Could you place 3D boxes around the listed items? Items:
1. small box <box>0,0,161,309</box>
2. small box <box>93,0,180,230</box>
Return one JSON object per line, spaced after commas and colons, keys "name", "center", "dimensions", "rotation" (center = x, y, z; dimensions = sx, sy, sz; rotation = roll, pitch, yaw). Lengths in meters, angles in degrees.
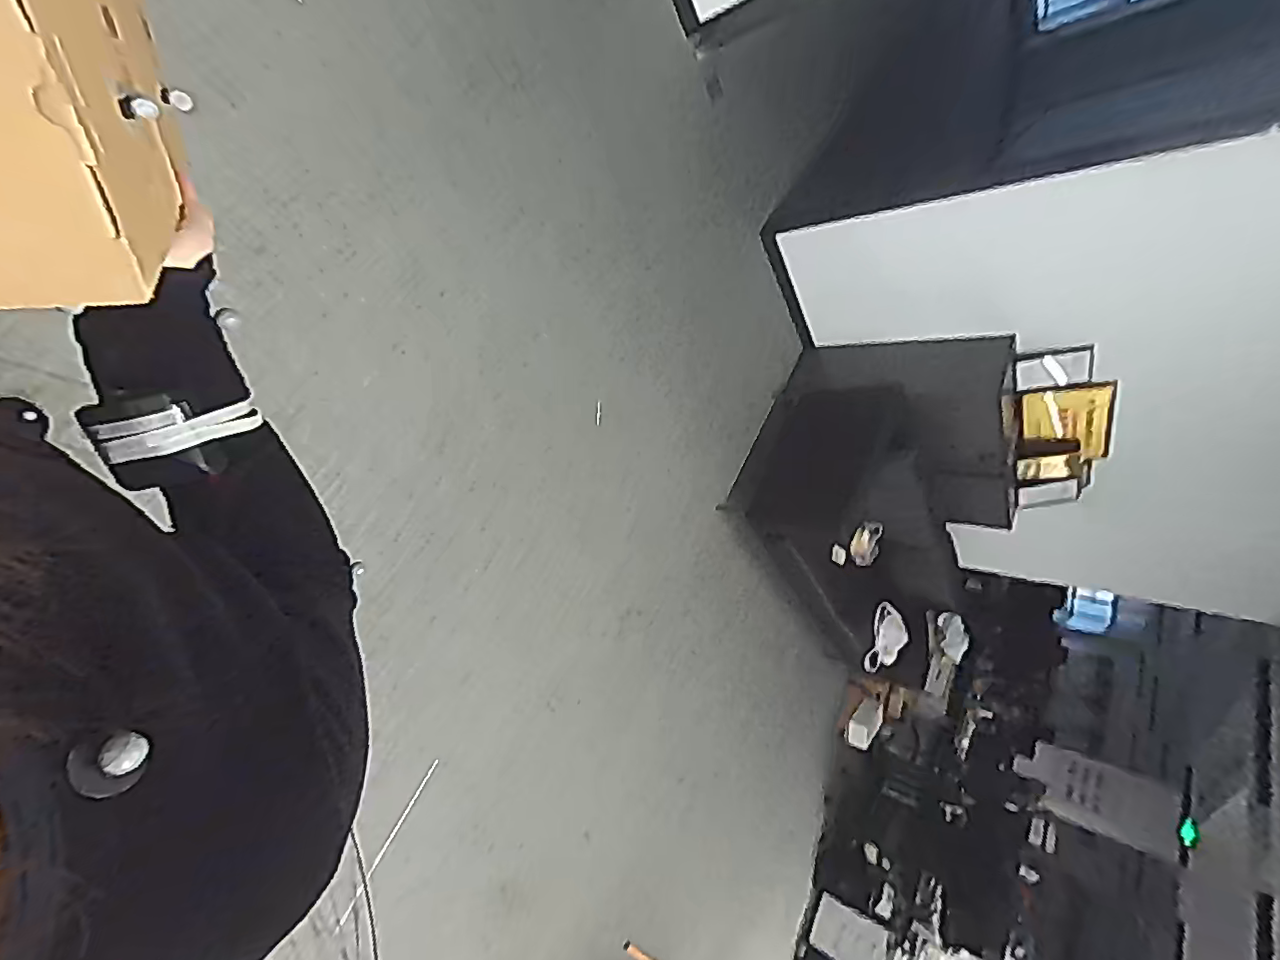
{"name": "small box", "center": [-0.351, -0.182, 0.231], "dimensions": [0.179, 0.176, 0.168], "rotation": [-13, 134, -26]}
{"name": "small box", "center": [-0.430, -0.273, 0.341], "dimensions": [0.179, 0.176, 0.168], "rotation": [-10, 132, -29]}
